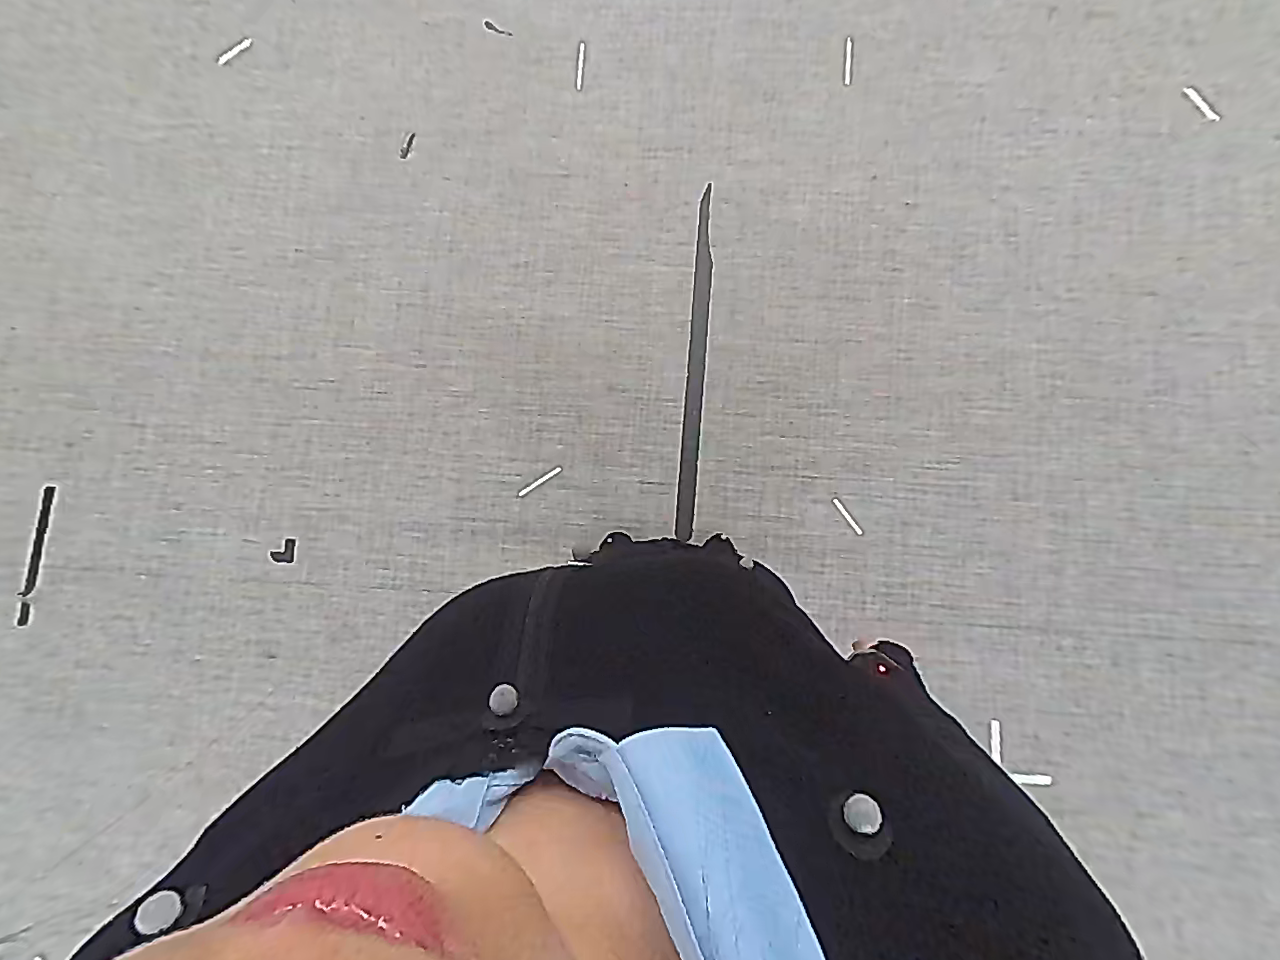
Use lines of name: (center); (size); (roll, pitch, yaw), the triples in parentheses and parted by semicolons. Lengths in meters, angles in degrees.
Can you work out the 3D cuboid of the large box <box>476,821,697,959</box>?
large box: (-0.093, 0.949, 1.106); (0.408, 0.320, 0.320); (4, 84, 4)
